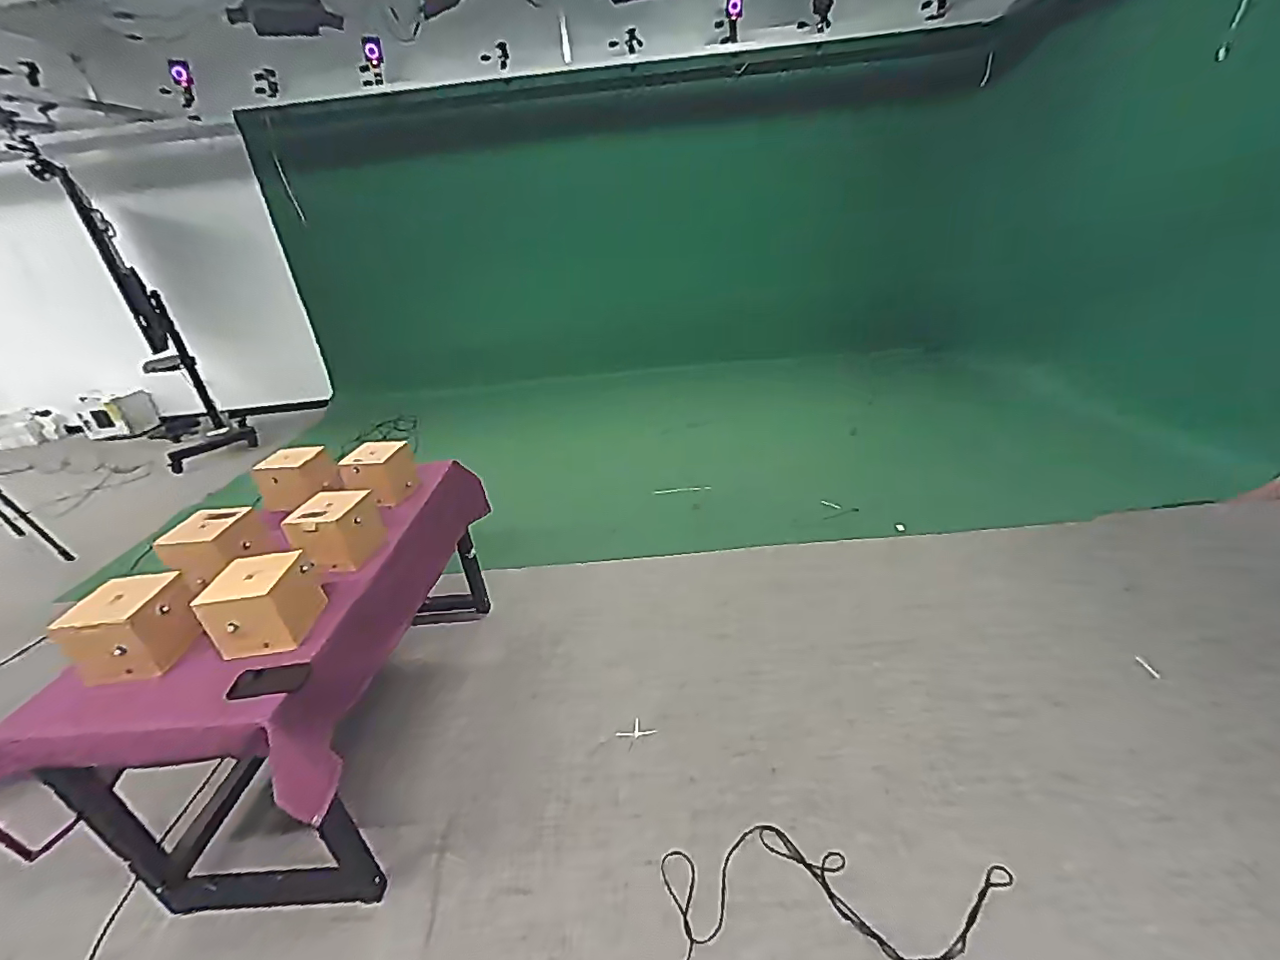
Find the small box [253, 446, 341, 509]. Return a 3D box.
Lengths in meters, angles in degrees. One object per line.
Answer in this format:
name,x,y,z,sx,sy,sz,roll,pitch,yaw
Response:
small box,-1.206,-0.006,1.913,0.179,0.176,0.168,-3,28,6

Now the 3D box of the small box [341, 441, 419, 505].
small box,-0.894,-0.025,1.883,0.168,0.176,0.179,-2,27,9

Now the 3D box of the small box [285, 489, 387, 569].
small box,-0.862,0.143,1.554,0.168,0.176,0.179,-2,27,8

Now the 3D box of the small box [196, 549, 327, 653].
small box,-0.877,0.290,1.277,0.168,0.176,0.179,-8,26,-2
